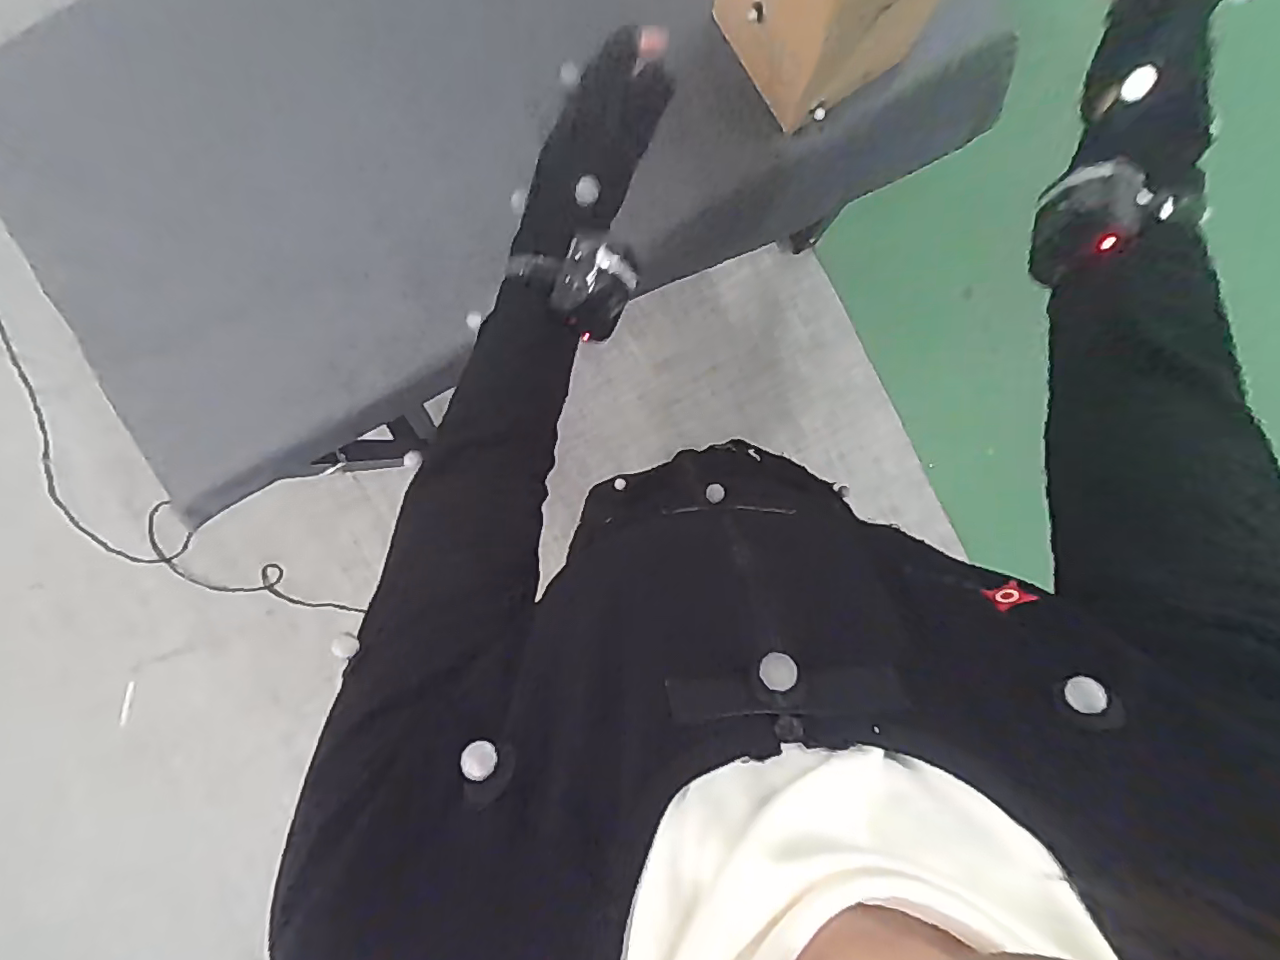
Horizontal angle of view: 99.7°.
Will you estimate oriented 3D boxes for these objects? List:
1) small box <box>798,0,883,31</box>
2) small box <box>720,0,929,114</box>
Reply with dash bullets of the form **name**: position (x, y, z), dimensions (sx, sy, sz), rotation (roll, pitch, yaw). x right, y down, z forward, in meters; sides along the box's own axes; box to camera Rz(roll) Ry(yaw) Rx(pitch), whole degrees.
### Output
- **small box**: position (0.202, -0.525, 0.423), dimensions (0.179, 0.176, 0.168), rotation (-30, 91, 5)
- **small box**: position (0.204, -0.544, 0.584), dimensions (0.168, 0.176, 0.179), rotation (-32, 91, 4)
